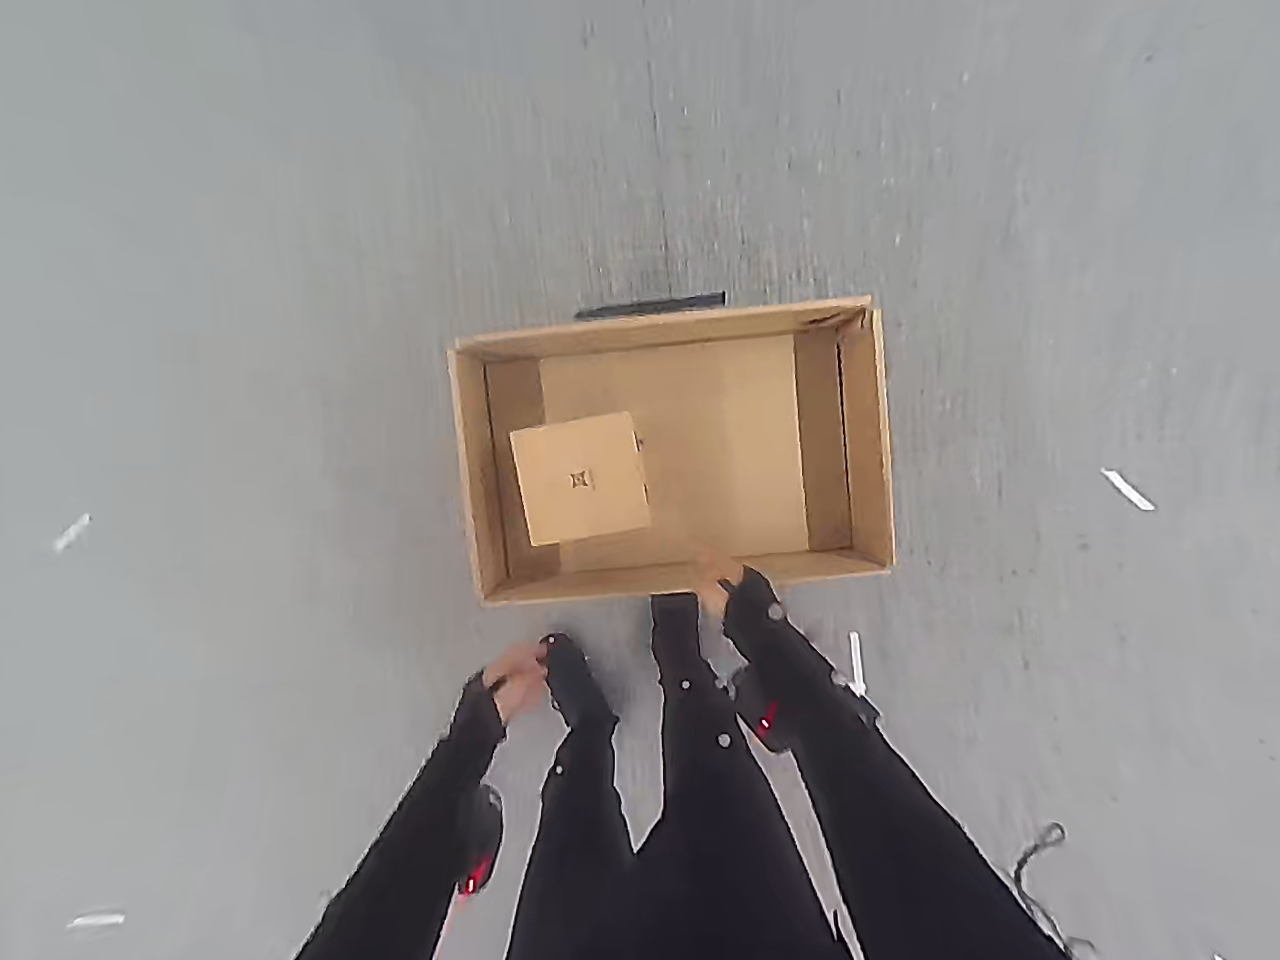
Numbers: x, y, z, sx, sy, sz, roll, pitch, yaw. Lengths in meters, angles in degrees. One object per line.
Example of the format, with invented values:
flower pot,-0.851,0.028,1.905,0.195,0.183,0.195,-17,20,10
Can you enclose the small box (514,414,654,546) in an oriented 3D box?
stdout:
small box,-0.077,-0.005,0.833,0.179,0.176,0.168,-10,92,2
